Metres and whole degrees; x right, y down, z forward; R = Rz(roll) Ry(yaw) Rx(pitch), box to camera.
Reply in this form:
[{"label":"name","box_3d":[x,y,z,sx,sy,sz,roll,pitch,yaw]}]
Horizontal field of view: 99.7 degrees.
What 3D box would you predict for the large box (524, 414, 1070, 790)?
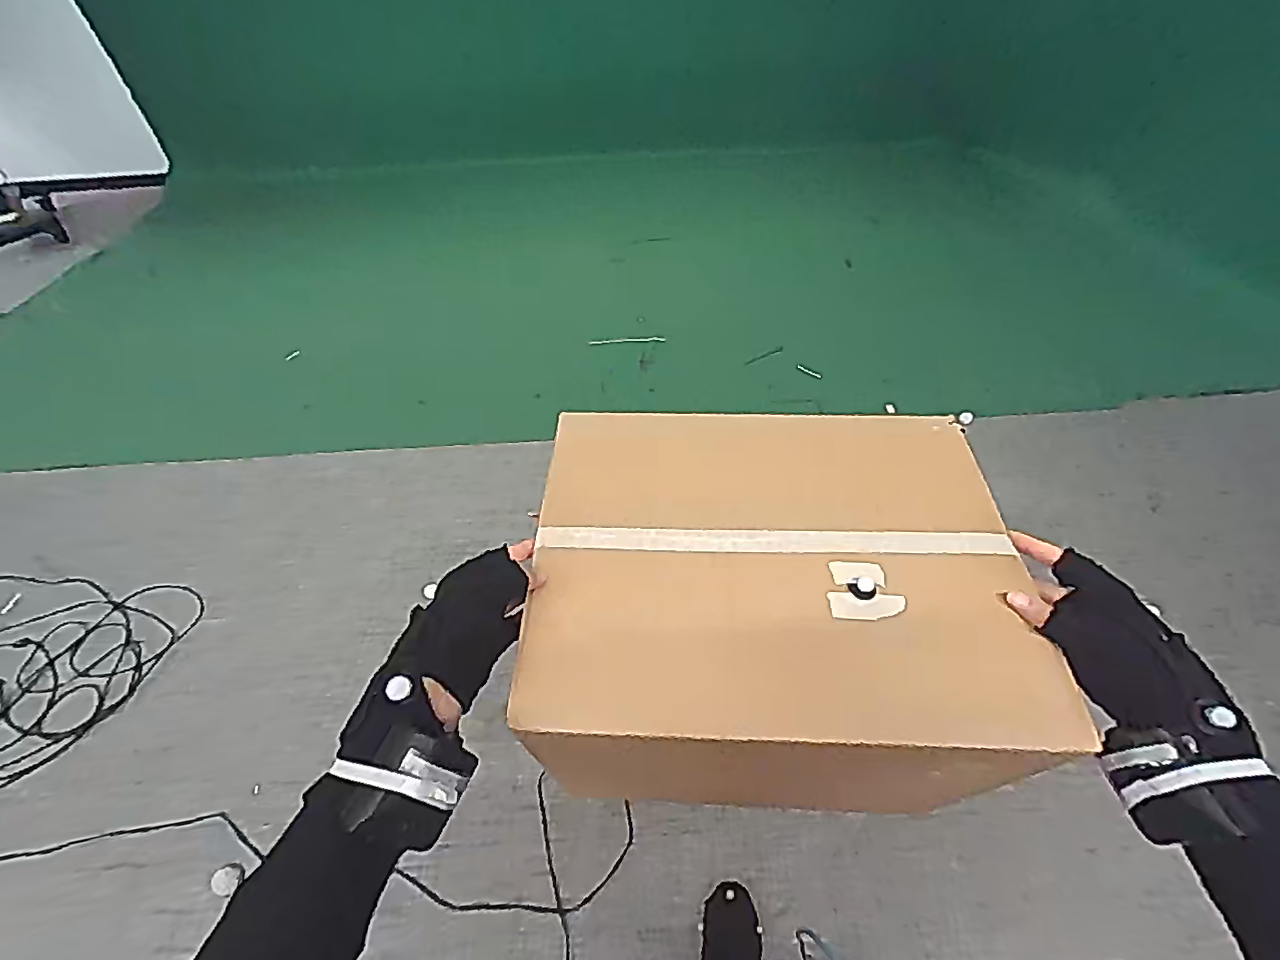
[{"label":"large box","box_3d":[0.117,0.144,0.598,0.408,0.320,0.320,0,53,3]}]
